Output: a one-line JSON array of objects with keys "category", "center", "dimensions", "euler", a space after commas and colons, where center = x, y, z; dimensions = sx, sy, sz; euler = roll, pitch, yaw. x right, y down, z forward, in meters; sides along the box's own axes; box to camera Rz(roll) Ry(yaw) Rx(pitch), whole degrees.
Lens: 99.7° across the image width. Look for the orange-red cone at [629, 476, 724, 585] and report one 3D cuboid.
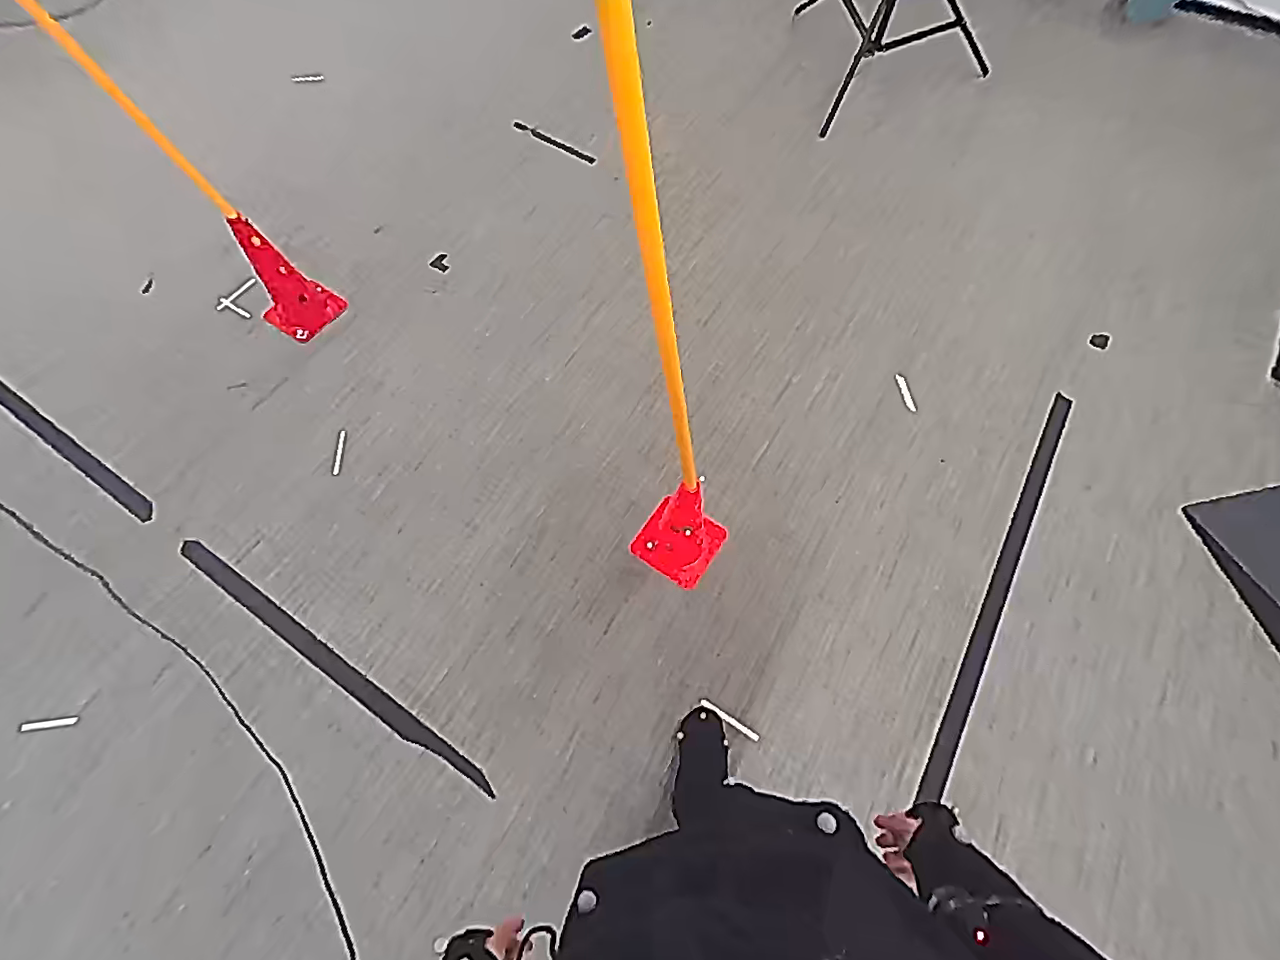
[{"category": "orange-red cone", "center": [0.099, 0.081, 1.256], "dimensions": [0.199, 0.360, 0.198], "euler": [34, 69, 14]}]
